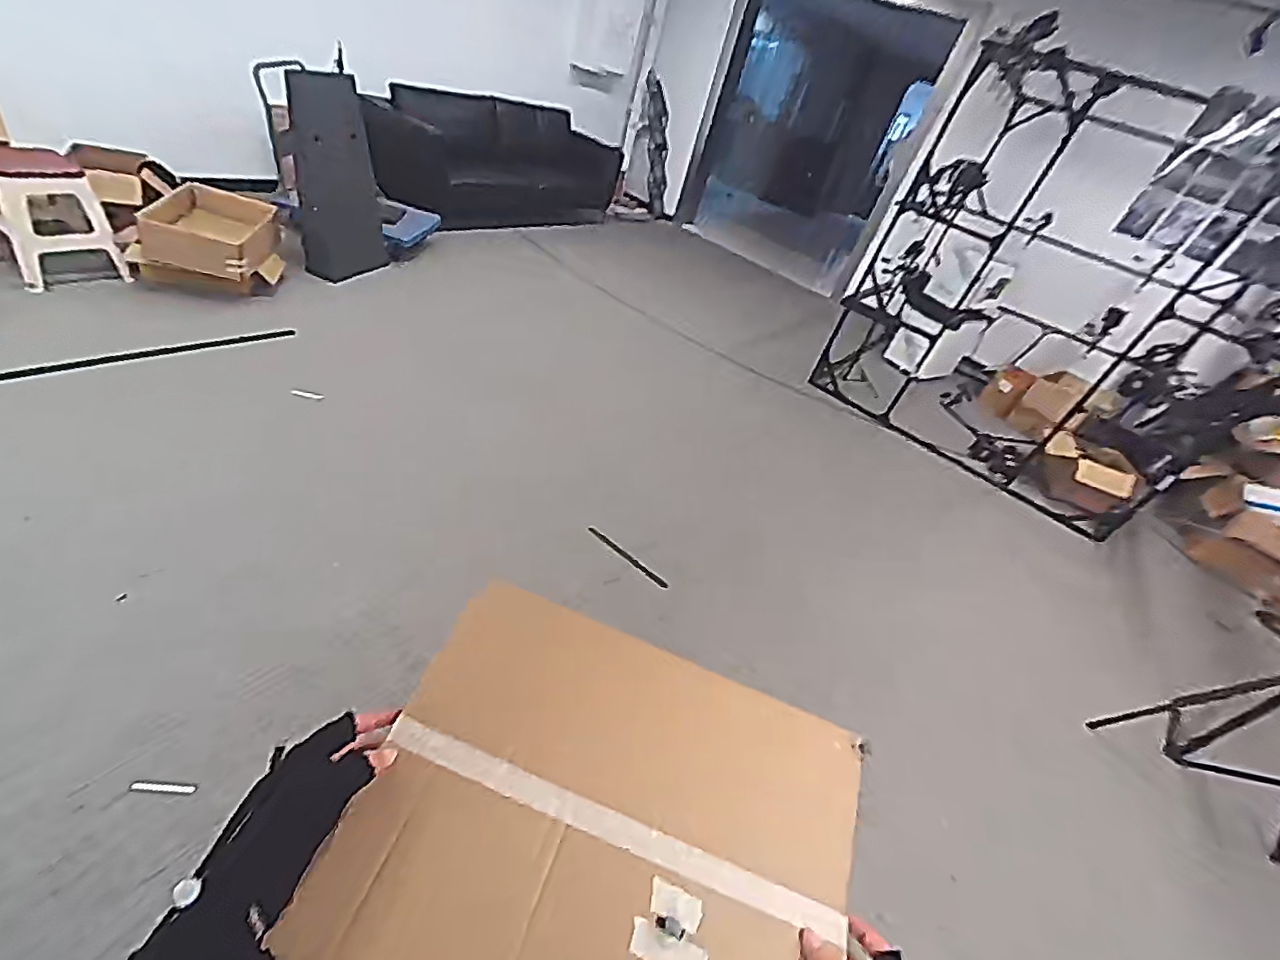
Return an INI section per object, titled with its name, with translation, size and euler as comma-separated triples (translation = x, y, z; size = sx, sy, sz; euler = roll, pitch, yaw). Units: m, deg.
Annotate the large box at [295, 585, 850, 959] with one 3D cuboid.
[large box]
translation = -0.048, 0.377, 0.586
size = 0.408, 0.320, 0.320
euler = 23, 54, 4
